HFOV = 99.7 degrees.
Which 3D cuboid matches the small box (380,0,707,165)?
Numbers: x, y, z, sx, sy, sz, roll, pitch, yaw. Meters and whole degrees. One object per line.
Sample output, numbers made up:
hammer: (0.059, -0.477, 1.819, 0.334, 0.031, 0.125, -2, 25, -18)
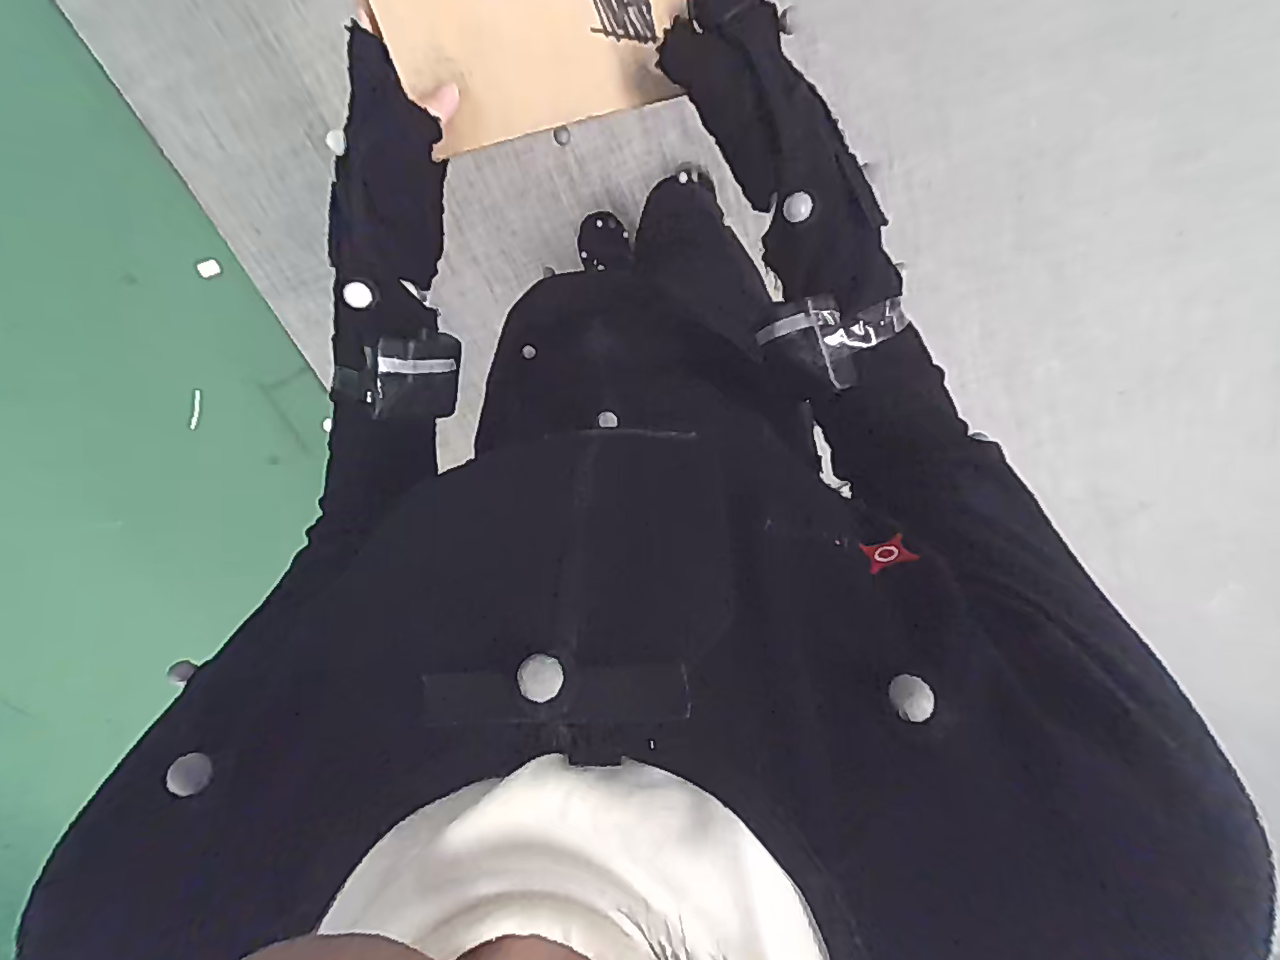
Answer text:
small box: (-0.067, -0.336, 0.357, 0.179, 0.176, 0.168, -14, 128, 7)
